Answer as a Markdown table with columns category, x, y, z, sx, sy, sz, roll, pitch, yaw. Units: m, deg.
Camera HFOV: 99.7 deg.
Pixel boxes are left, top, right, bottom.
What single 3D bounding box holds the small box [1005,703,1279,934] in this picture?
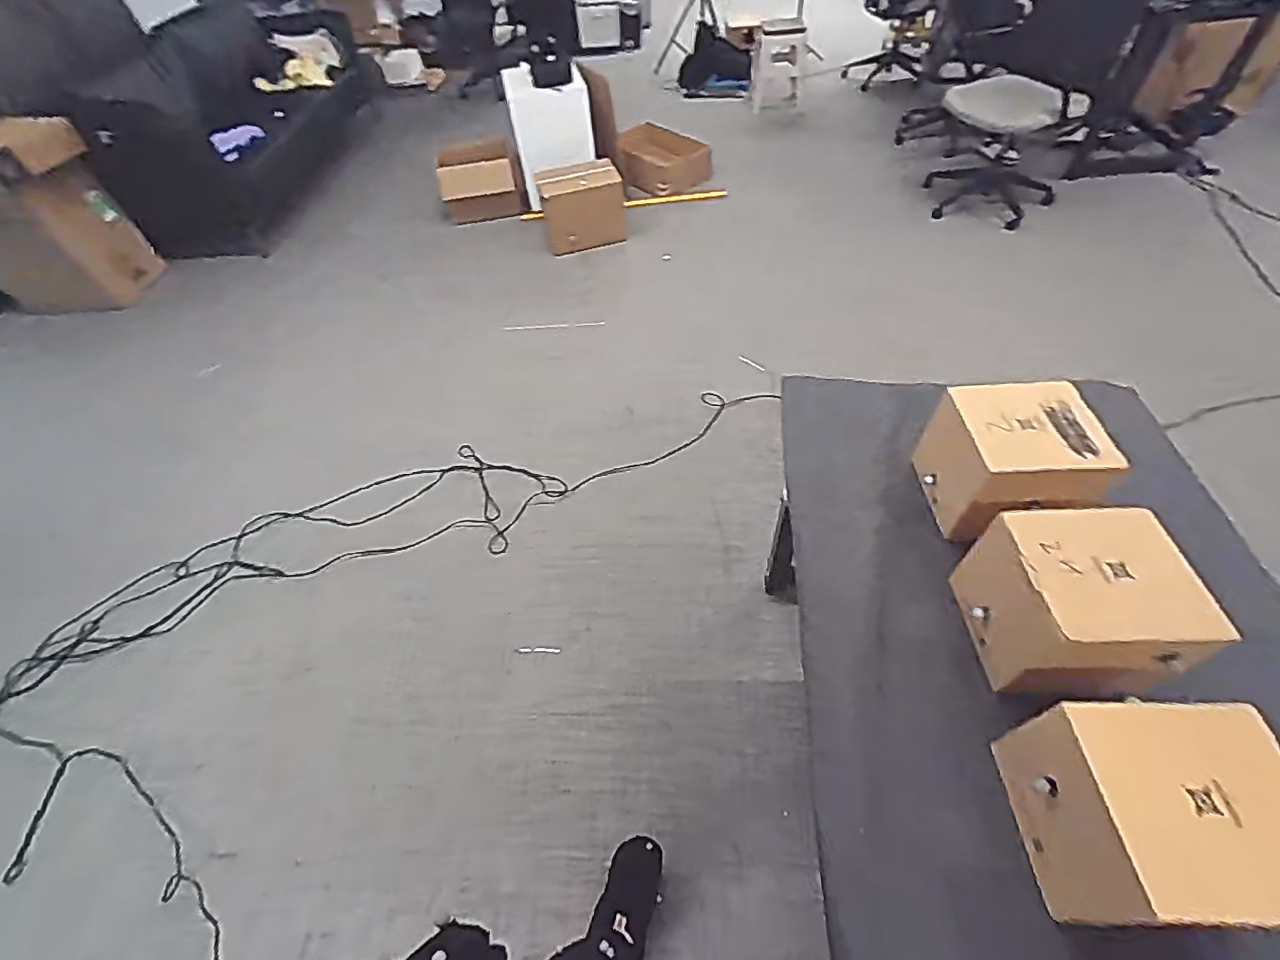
| category | x | y | z | sx | sy | sz | roll | pitch | yaw |
| --- | --- | --- | --- | --- | --- | --- | --- | --- | --- |
| small box | 0.491 | 0.326 | 0.520 | 0.179 | 0.176 | 0.168 | -1 | 51 | 3 |

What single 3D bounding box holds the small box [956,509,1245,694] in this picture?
| category | x | y | z | sx | sy | sz | roll | pitch | yaw |
| --- | --- | --- | --- | --- | --- | --- | --- | --- | --- |
| small box | 0.526 | 0.150 | 0.655 | 0.179 | 0.176 | 0.168 | -1 | 51 | 4 |
